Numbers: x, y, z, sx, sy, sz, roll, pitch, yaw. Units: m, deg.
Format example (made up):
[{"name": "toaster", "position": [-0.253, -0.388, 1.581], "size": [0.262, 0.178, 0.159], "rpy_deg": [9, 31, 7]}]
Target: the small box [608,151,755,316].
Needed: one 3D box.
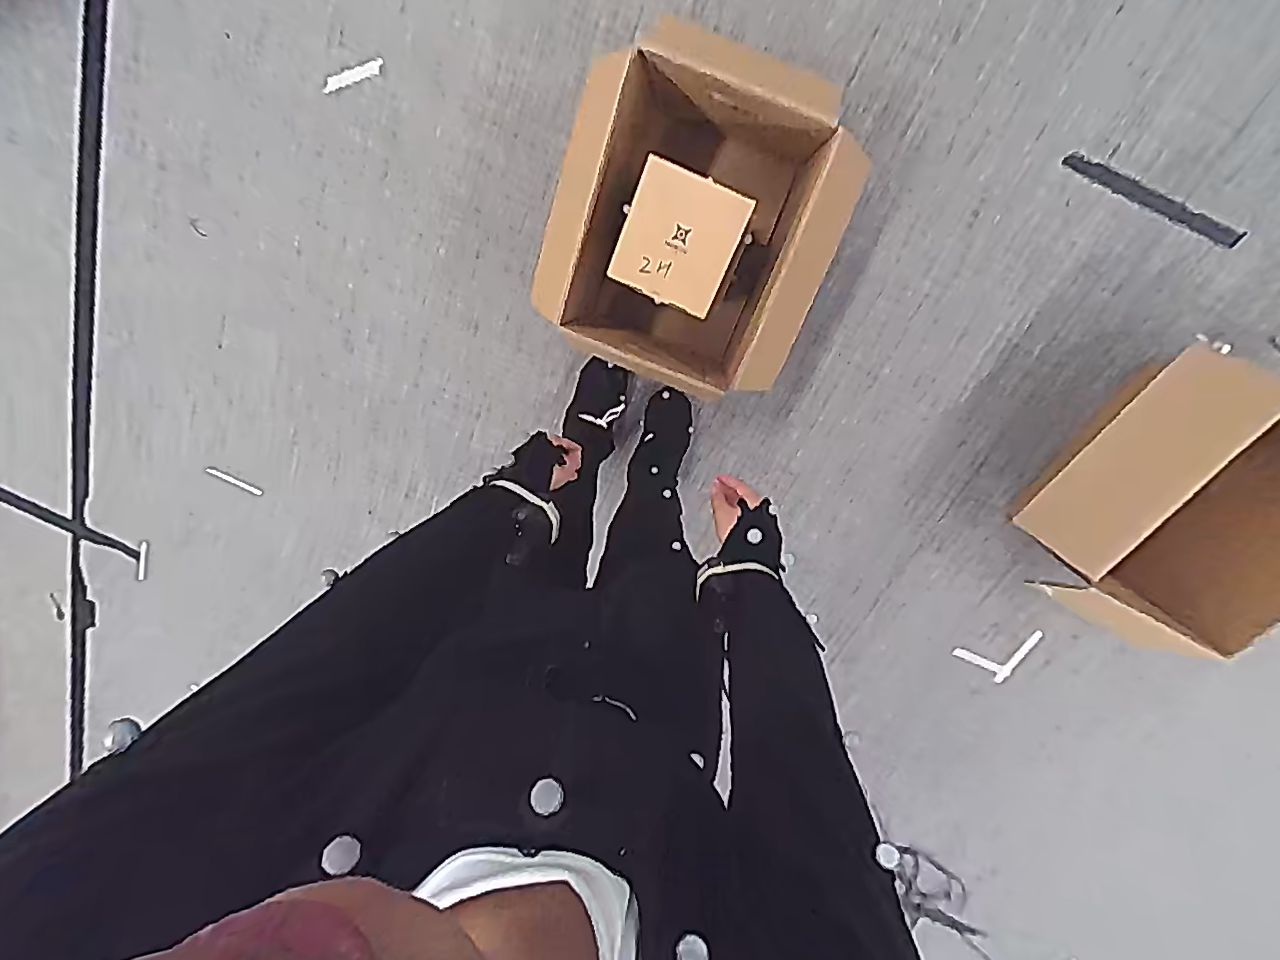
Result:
[{"name": "small box", "position": [0.065, -0.384, 0.864], "size": [0.168, 0.176, 0.179], "rpy_deg": [24, 113, -2]}]
